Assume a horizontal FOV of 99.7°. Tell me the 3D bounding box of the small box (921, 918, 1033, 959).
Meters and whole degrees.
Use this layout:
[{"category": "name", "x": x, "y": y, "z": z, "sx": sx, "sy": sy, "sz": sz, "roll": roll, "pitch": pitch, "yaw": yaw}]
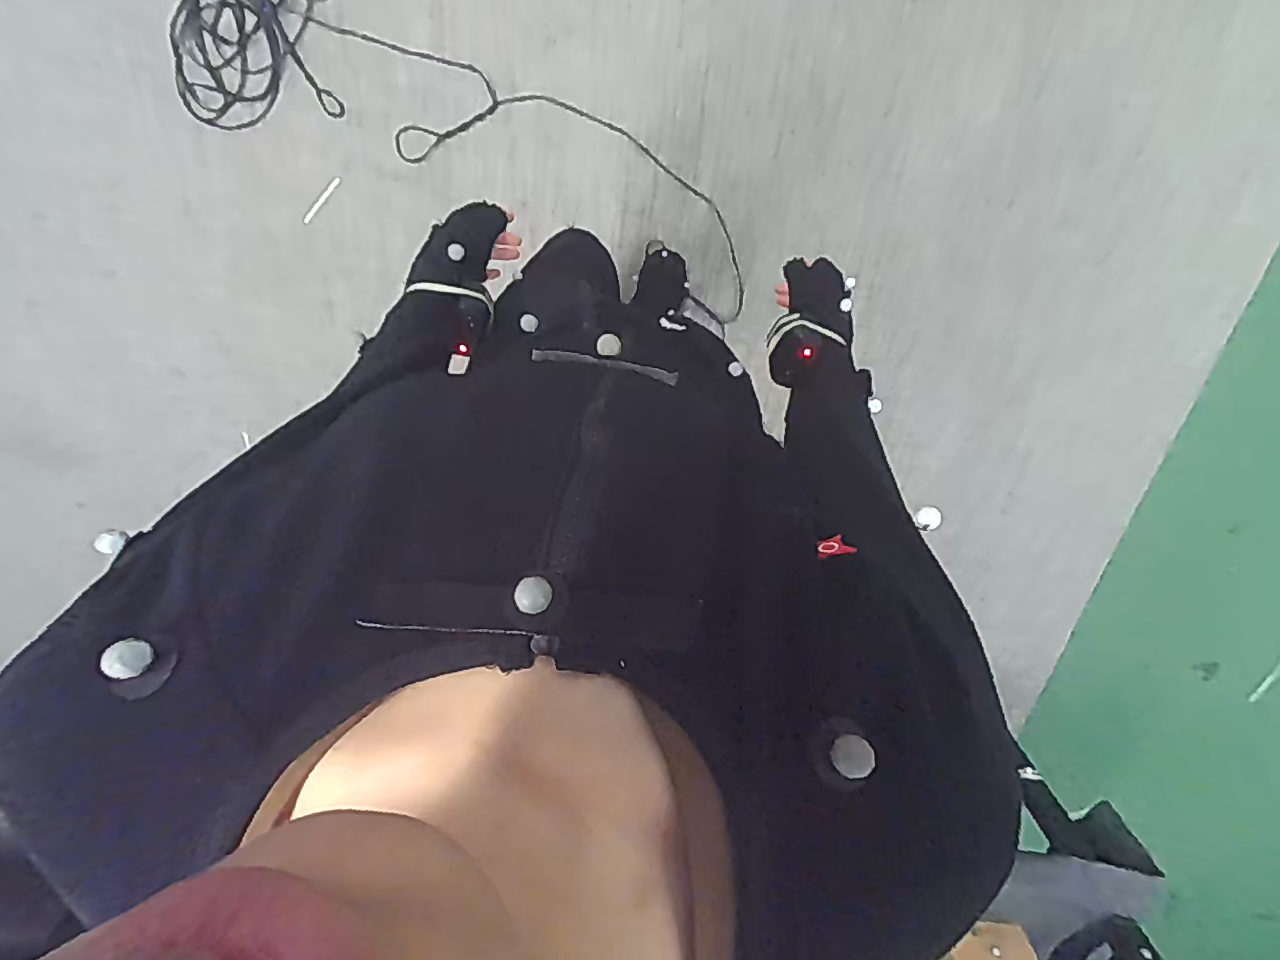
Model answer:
[{"category": "small box", "x": 0.677, "y": 1.004, "z": 1.054, "sx": 0.168, "sy": 0.176, "sz": 0.179, "roll": 3, "pitch": 114, "yaw": 1}]
